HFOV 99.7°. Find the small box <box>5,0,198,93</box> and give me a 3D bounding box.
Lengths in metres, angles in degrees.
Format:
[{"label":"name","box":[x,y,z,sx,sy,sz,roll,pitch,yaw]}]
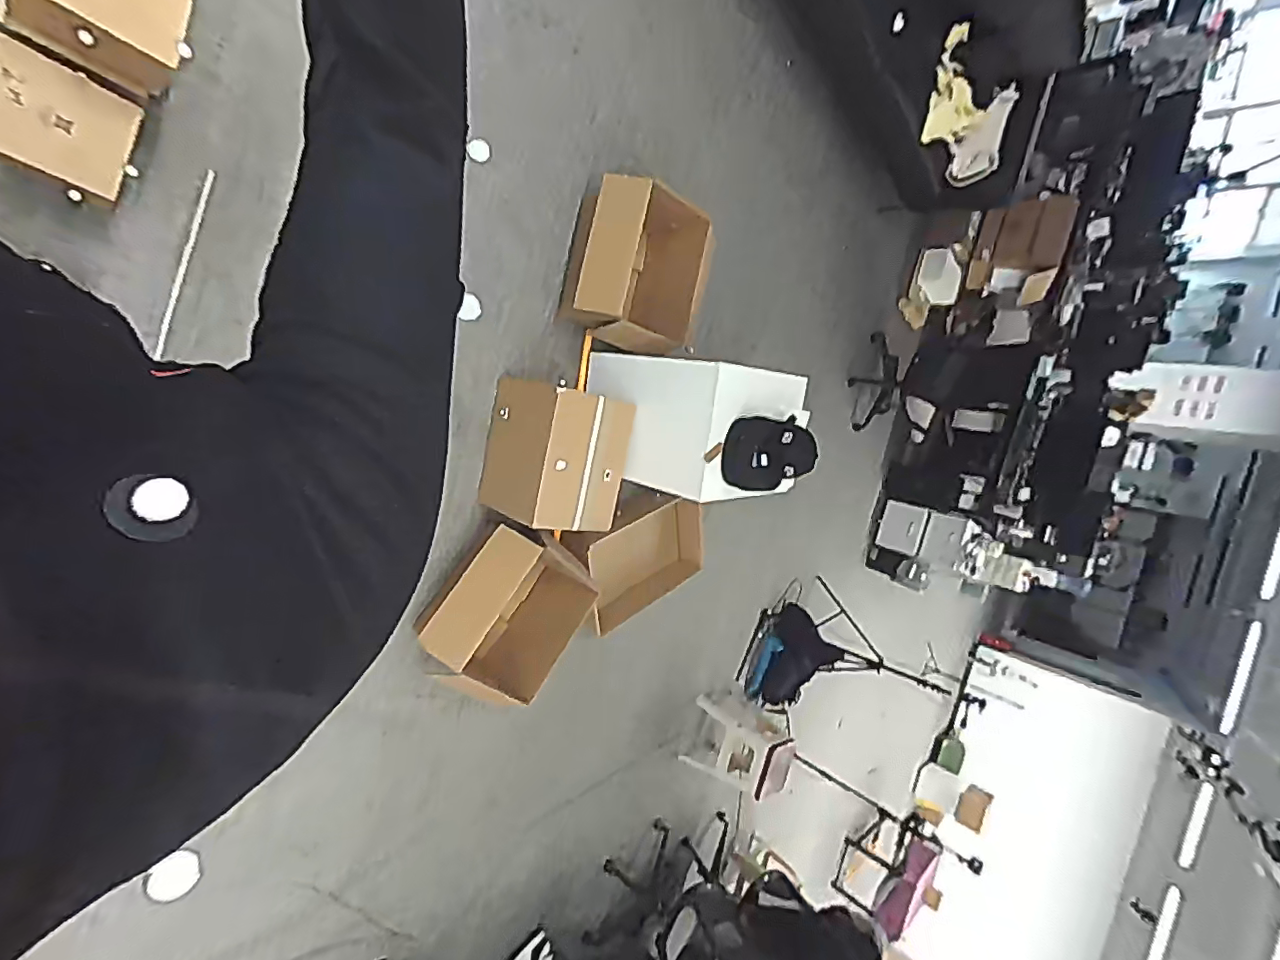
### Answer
[{"label":"small box","box":[-0.794,-0.718,0.804,0.179,0.176,0.168,14,91,-49]}]
